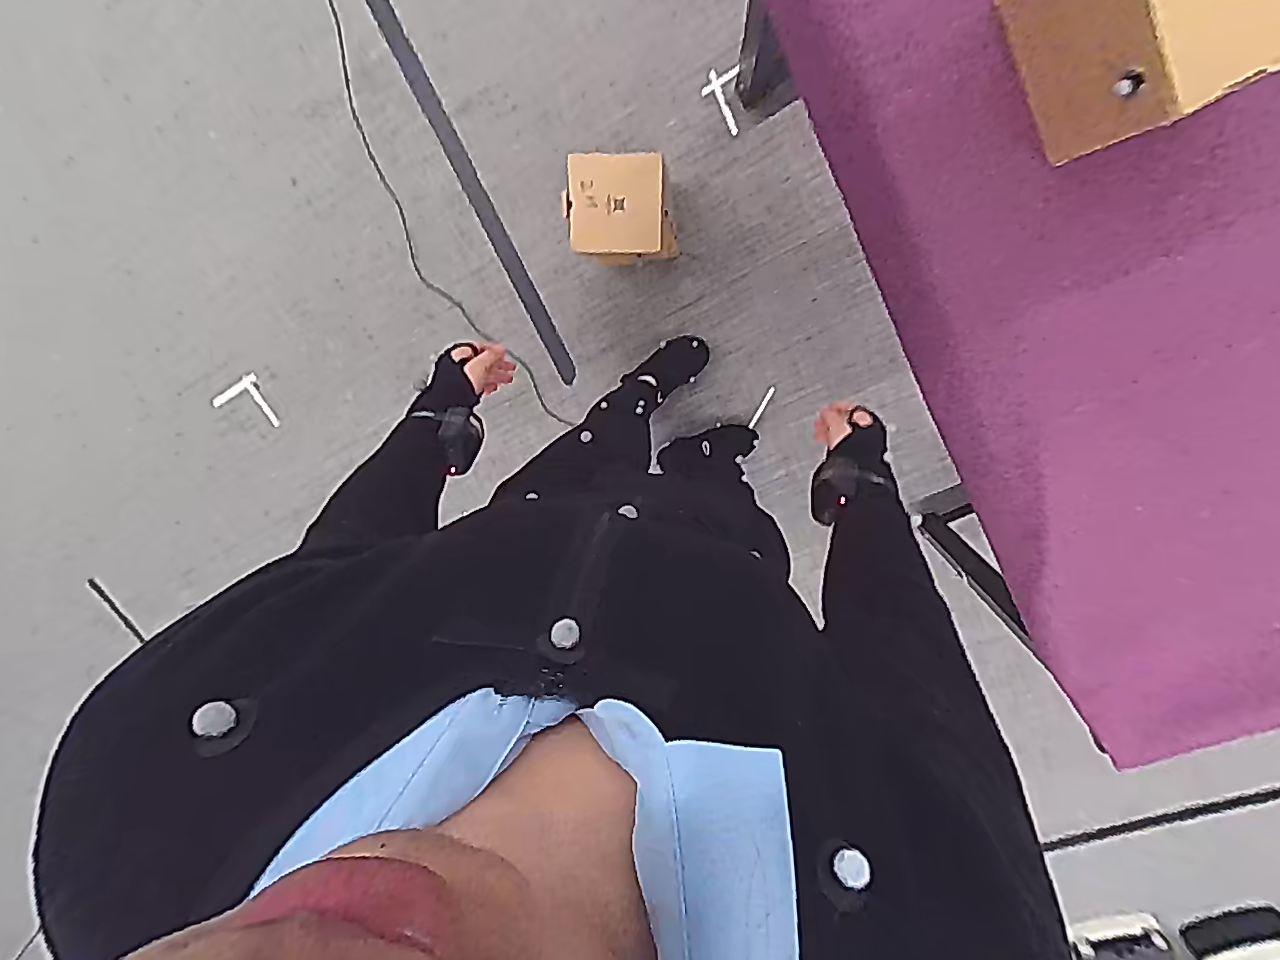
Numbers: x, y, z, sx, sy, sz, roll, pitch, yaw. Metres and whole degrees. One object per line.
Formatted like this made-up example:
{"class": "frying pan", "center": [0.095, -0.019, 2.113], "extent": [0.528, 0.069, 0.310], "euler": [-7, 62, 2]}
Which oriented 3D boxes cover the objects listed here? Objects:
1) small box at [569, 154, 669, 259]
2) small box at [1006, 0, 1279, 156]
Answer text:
{"class": "small box", "center": [-0.035, -0.531, 1.064], "extent": [0.179, 0.176, 0.168], "euler": [3, 109, 7]}
{"class": "small box", "center": [0.449, -0.412, 0.450], "extent": [0.168, 0.176, 0.179], "euler": [-27, 104, 14]}
